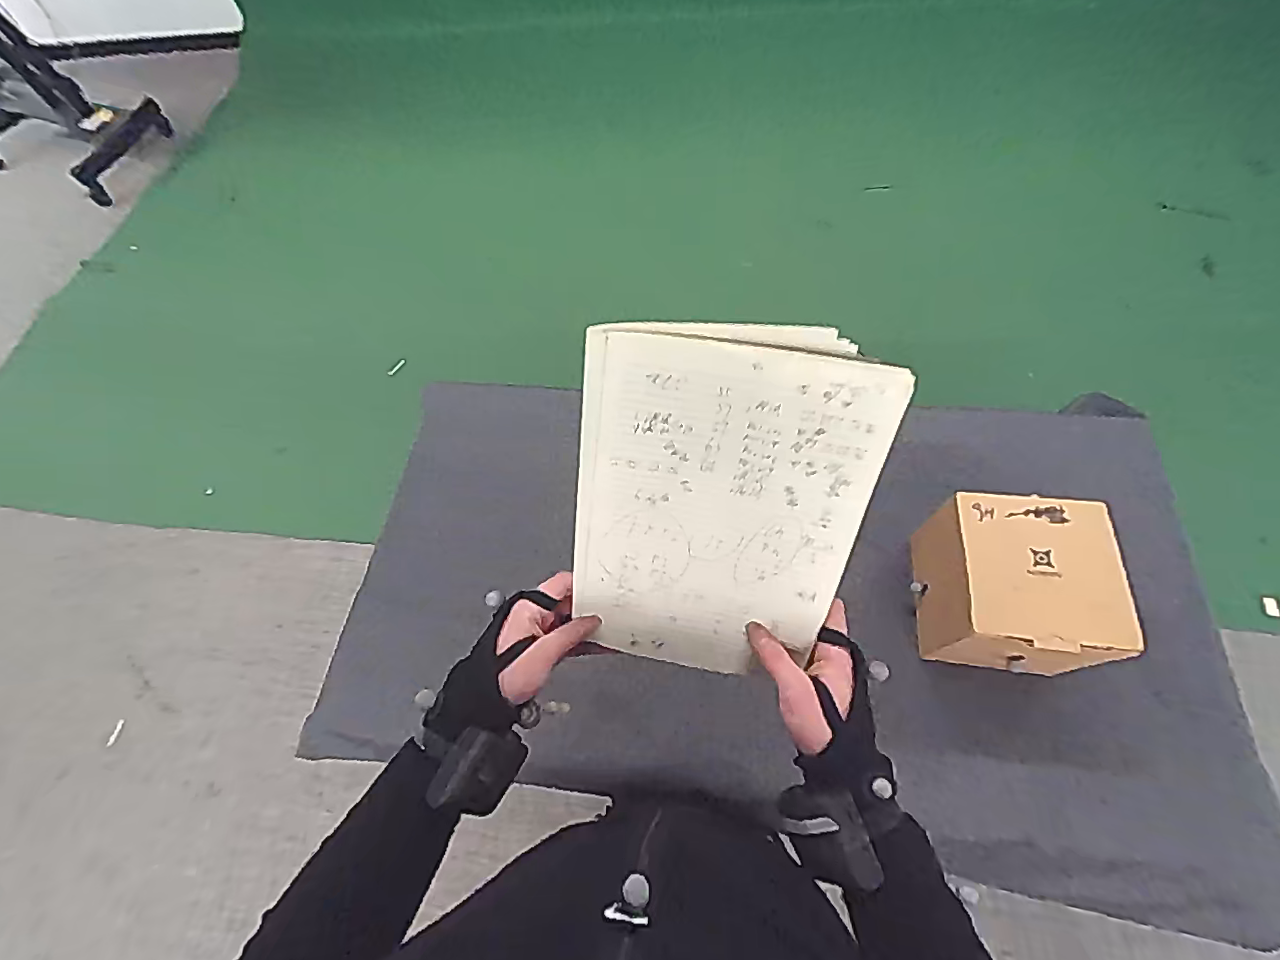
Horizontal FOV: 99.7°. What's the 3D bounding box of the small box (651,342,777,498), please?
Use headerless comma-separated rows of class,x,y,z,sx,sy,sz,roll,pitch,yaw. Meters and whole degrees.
small box,0.113,-0.086,0.818,0.168,0.176,0.179,4,63,7

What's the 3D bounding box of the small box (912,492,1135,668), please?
small box,0.461,0.133,0.685,0.168,0.176,0.179,5,65,9
